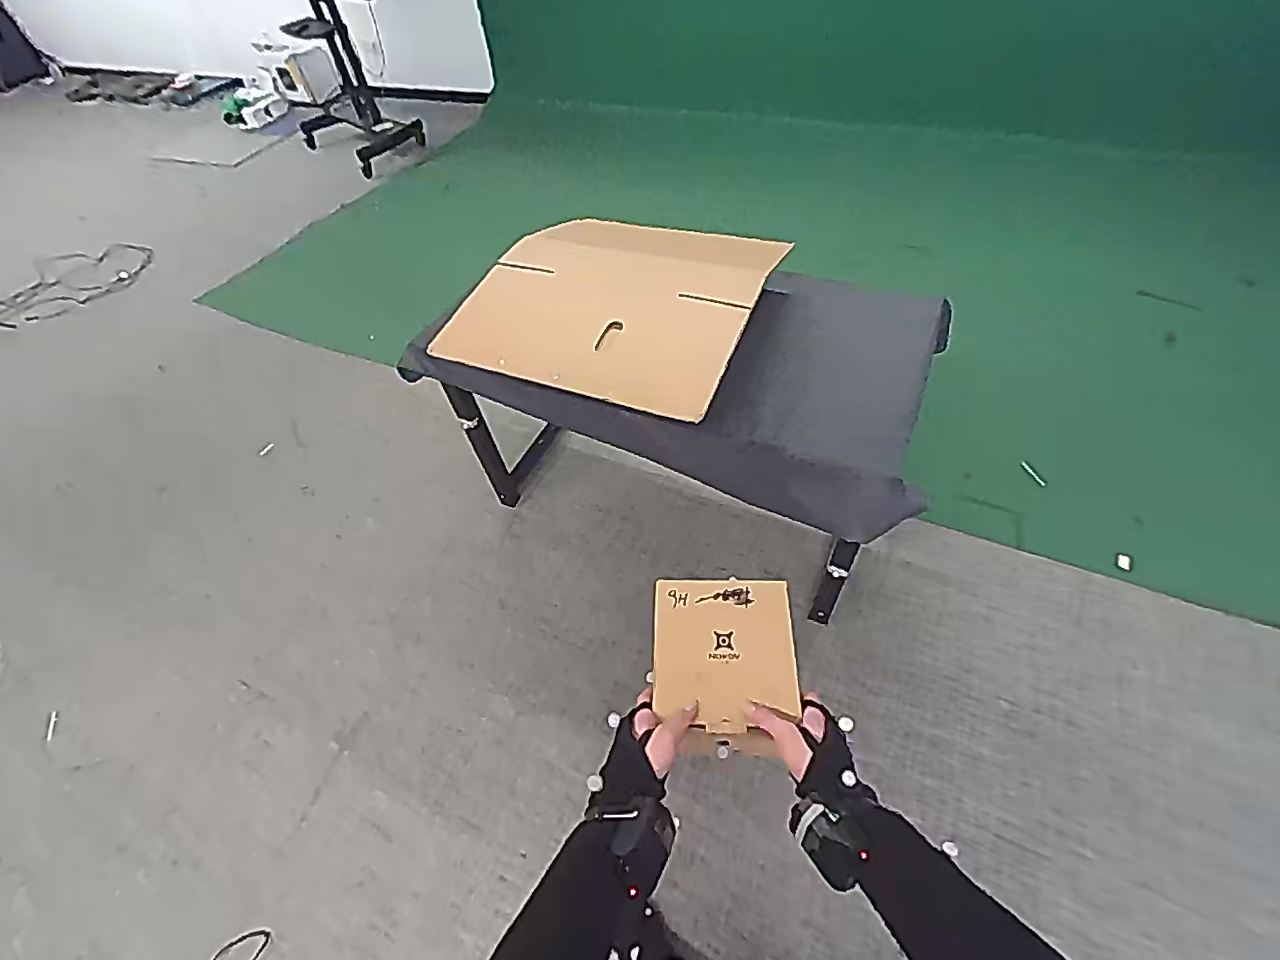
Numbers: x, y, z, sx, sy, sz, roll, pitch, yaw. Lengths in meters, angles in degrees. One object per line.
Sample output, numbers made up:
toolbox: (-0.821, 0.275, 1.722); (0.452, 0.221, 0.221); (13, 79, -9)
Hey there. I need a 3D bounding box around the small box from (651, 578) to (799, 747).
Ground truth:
small box: (0.104, 0.245, 0.708); (0.168, 0.176, 0.179); (-3, 54, 4)
